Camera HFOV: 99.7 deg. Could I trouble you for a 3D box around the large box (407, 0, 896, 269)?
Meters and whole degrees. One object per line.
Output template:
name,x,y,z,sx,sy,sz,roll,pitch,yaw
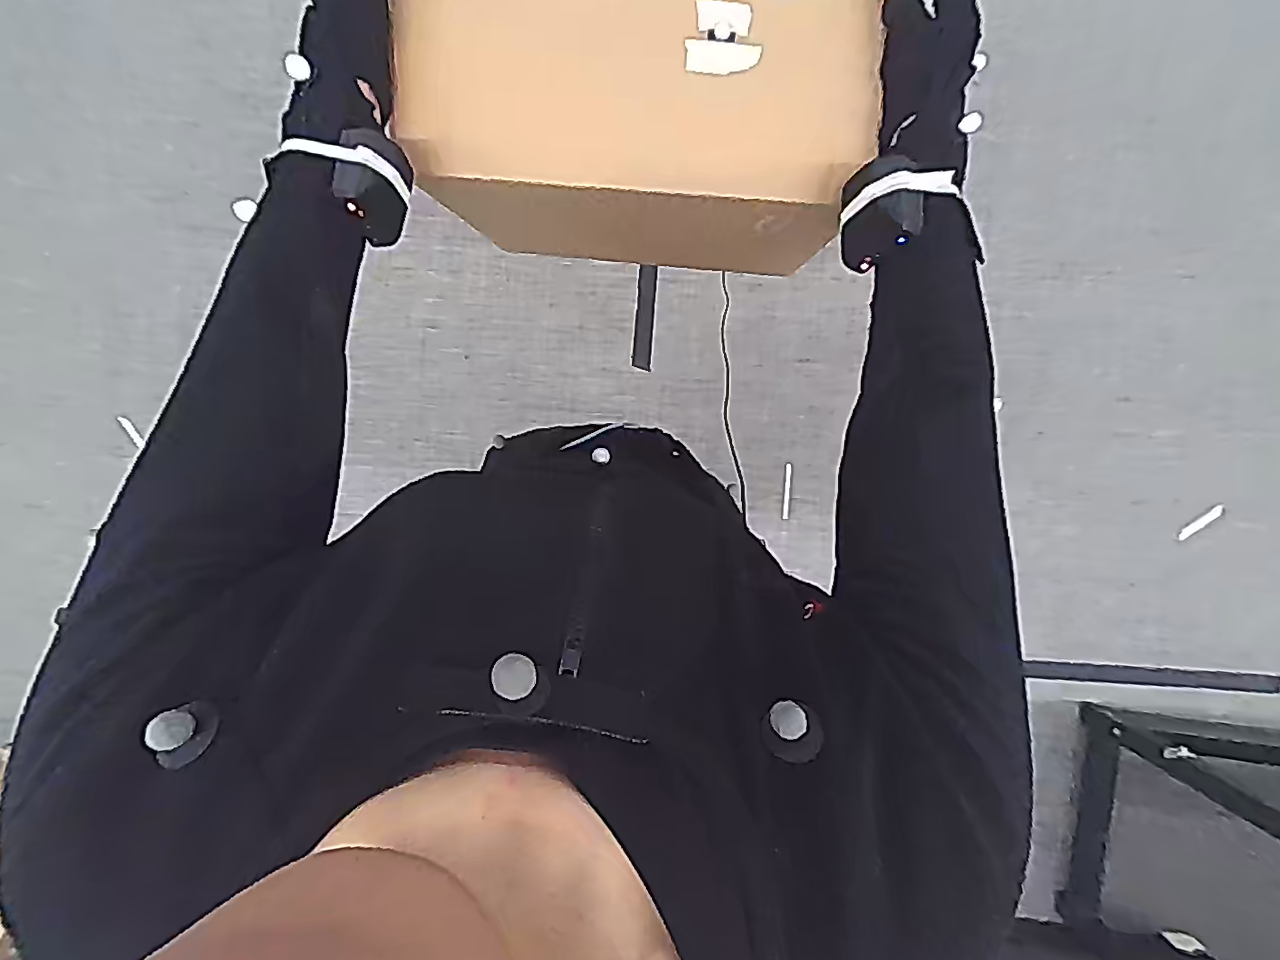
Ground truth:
large box,0.013,-0.428,0.581,0.408,0.320,0.320,5,102,2
